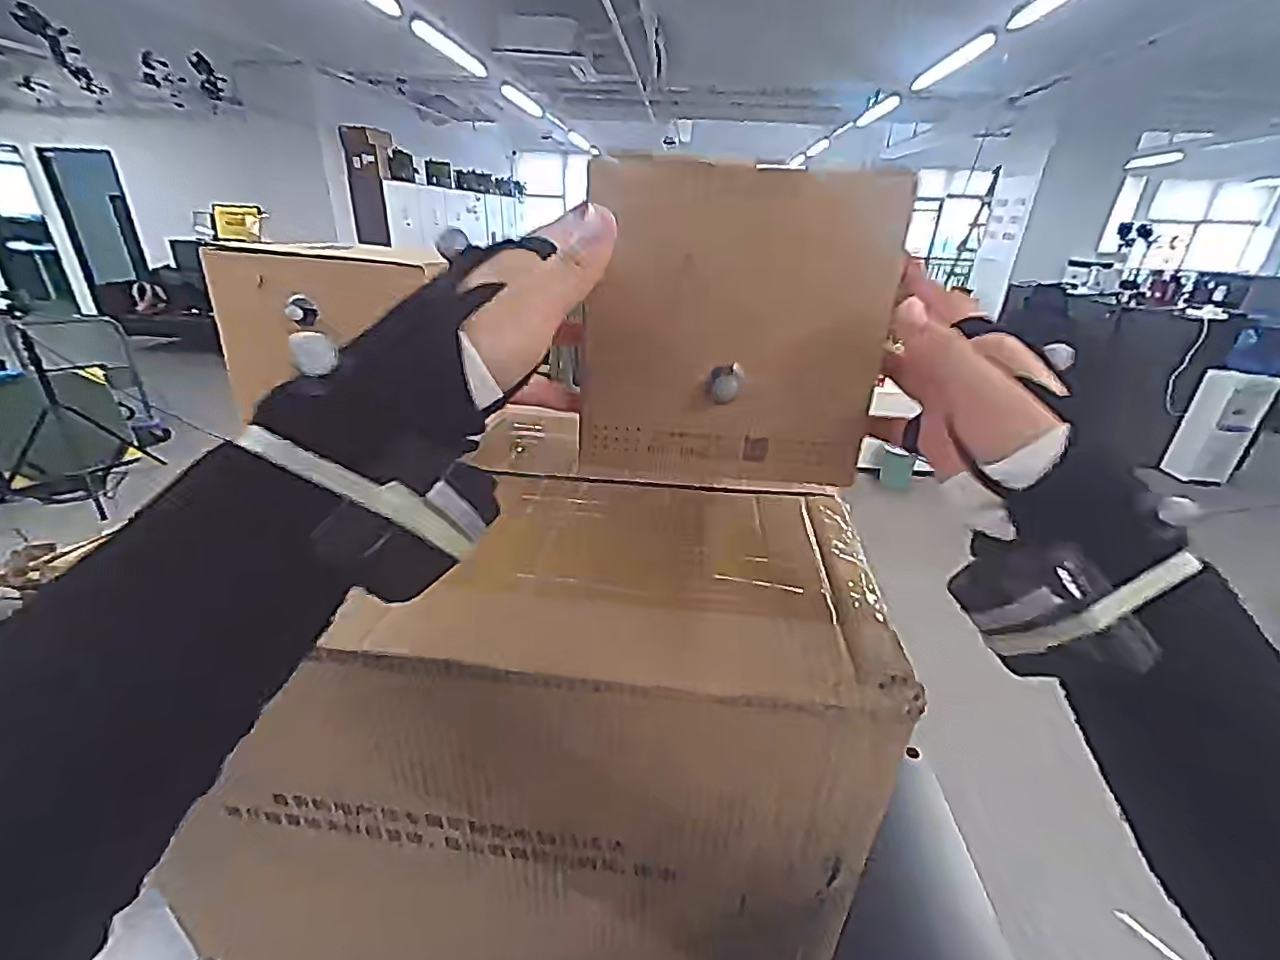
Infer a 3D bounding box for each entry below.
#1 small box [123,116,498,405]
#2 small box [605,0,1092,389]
[{"bbox_3d":[-0.222,-0.162,0.420,0.179,0.176,0.168,6,25,4],"label":"small box"},{"bbox_3d":[0.073,-0.153,0.282,0.168,0.176,0.179,4,23,1],"label":"small box"}]
